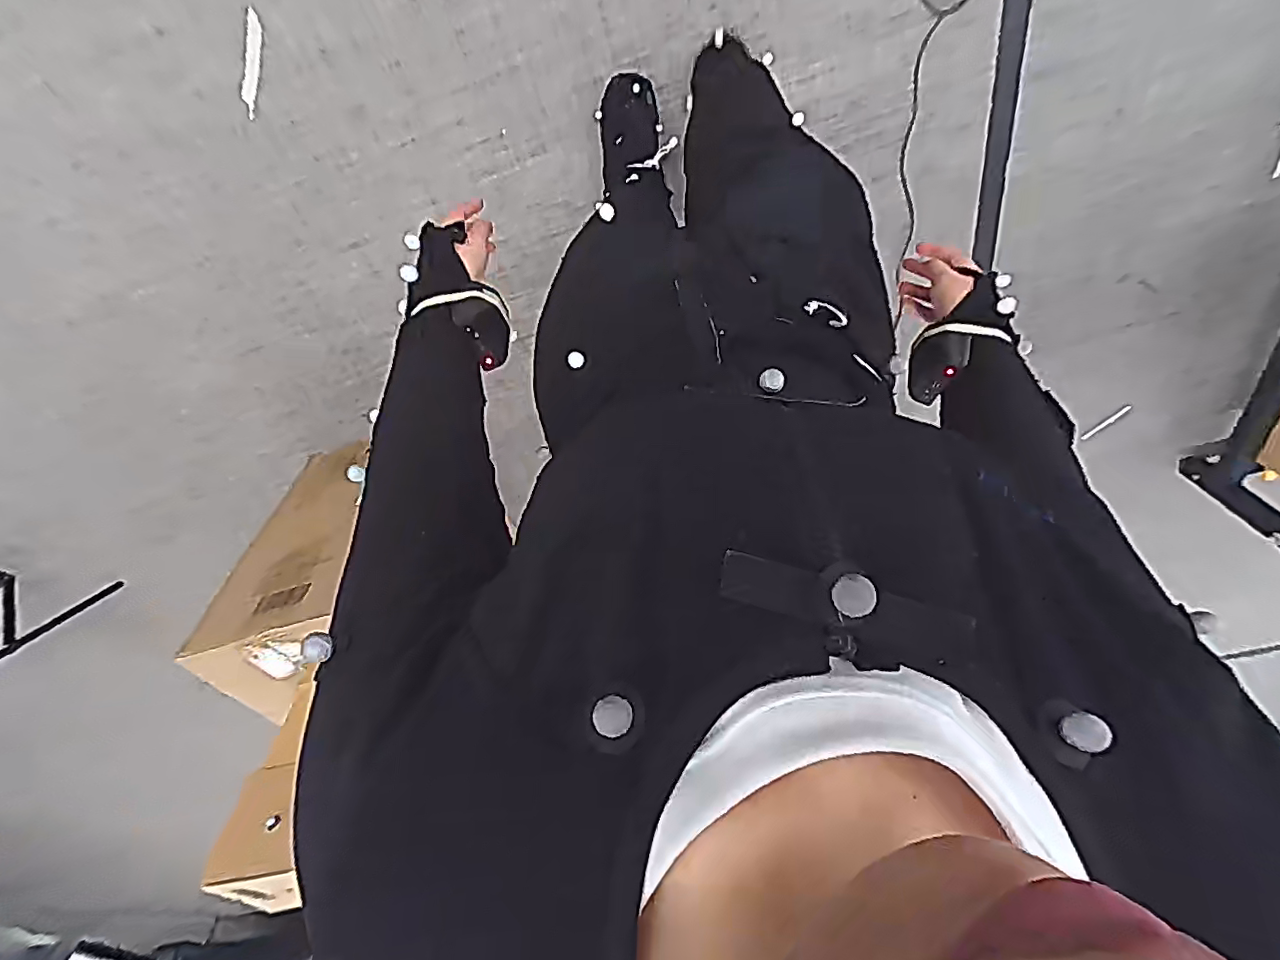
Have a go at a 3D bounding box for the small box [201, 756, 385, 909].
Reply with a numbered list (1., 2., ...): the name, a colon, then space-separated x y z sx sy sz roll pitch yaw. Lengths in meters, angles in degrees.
1. small box: -0.576 0.601 0.927 0.179 0.176 0.168 -14 131 5
